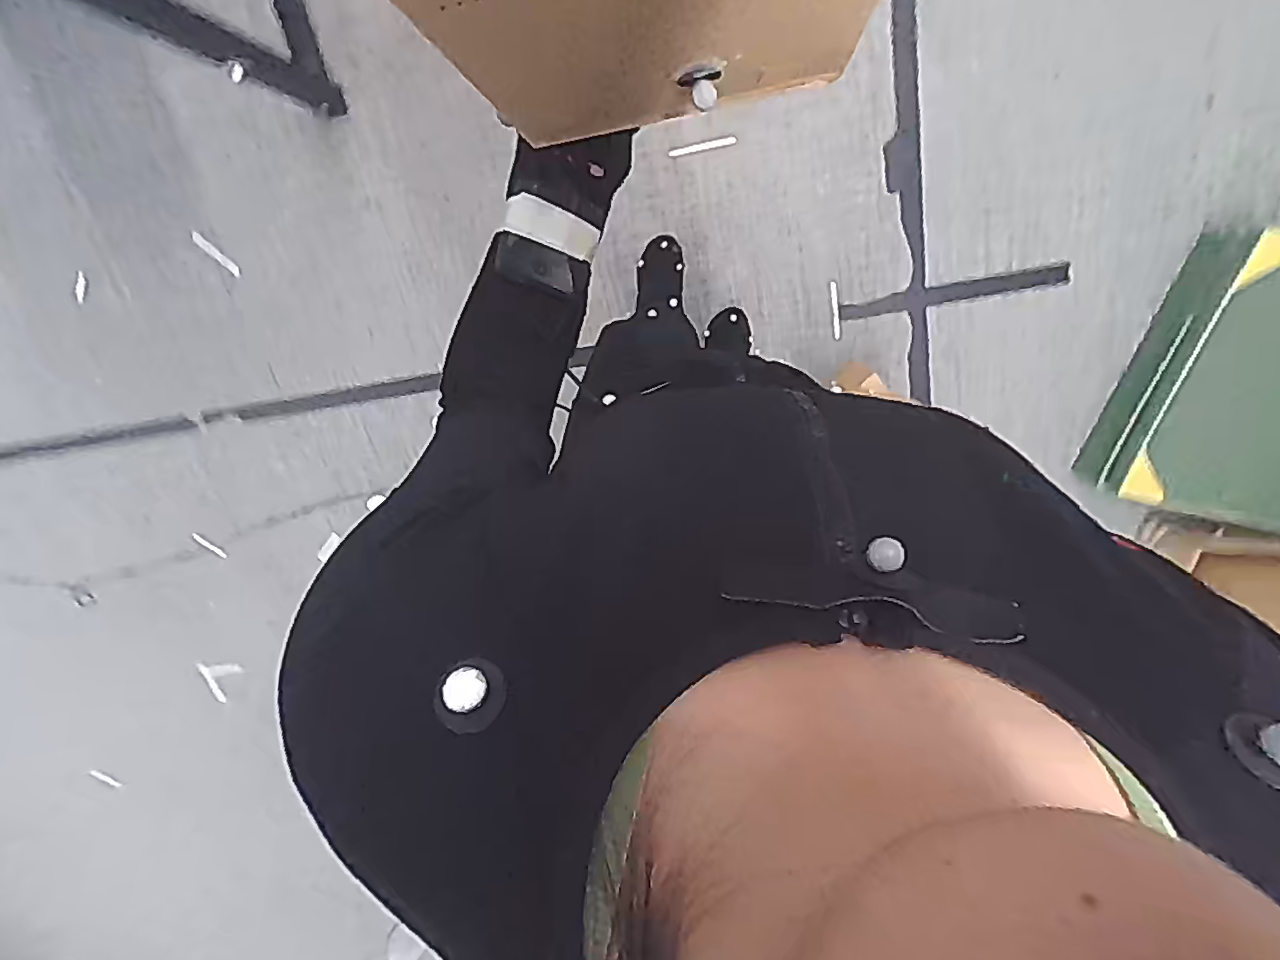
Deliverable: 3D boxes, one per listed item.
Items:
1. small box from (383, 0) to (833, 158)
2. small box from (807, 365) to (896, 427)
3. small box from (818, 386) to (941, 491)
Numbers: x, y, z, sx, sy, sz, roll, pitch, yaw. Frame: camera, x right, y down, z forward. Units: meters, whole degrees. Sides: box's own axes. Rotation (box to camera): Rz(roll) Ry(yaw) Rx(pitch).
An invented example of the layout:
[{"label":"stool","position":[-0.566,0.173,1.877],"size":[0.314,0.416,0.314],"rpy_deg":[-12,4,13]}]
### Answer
[{"label":"small box","position":[-0.012,-0.255,0.206],"size":[0.179,0.176,0.168],"rpy_deg":[-8,104,10]},{"label":"small box","position":[0.541,-0.167,1.345],"size":[0.168,0.176,0.179],"rpy_deg":[-40,103,18]},{"label":"small box","position":[0.515,-0.100,1.195],"size":[0.179,0.176,0.168],"rpy_deg":[14,114,0]}]
